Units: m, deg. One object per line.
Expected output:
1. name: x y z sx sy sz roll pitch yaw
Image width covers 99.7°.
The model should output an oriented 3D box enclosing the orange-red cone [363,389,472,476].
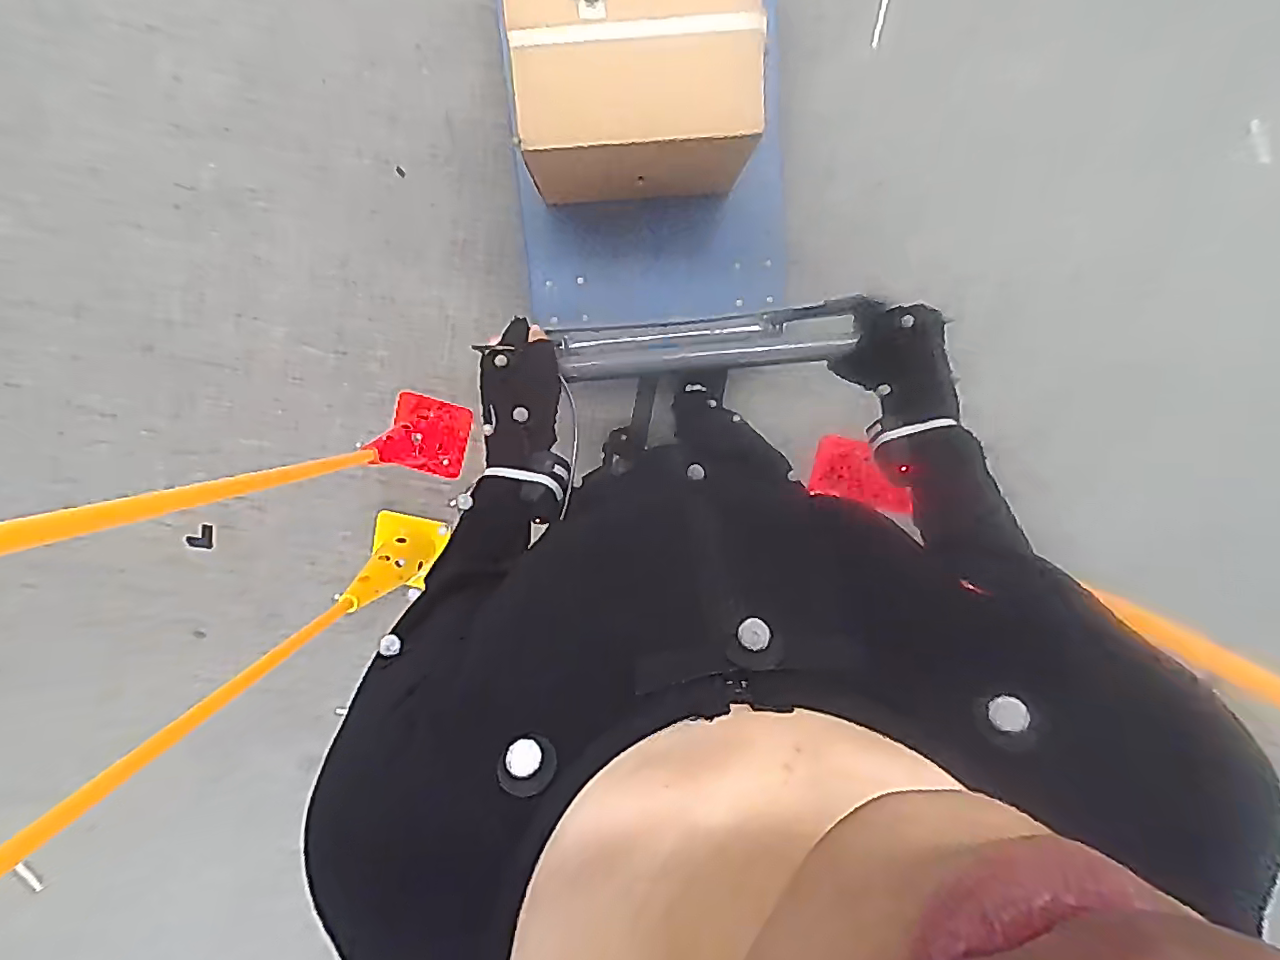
1. orange-red cone: -0.551 -0.094 1.261 0.198 0.360 0.199 17 99 -6

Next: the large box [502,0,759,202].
1. large box: -0.014 -0.734 1.002 0.408 0.320 0.320 -4 102 0

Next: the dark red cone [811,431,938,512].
1. dark red cone: 0.578 0.010 1.294 0.201 0.394 0.202 9 101 -5
